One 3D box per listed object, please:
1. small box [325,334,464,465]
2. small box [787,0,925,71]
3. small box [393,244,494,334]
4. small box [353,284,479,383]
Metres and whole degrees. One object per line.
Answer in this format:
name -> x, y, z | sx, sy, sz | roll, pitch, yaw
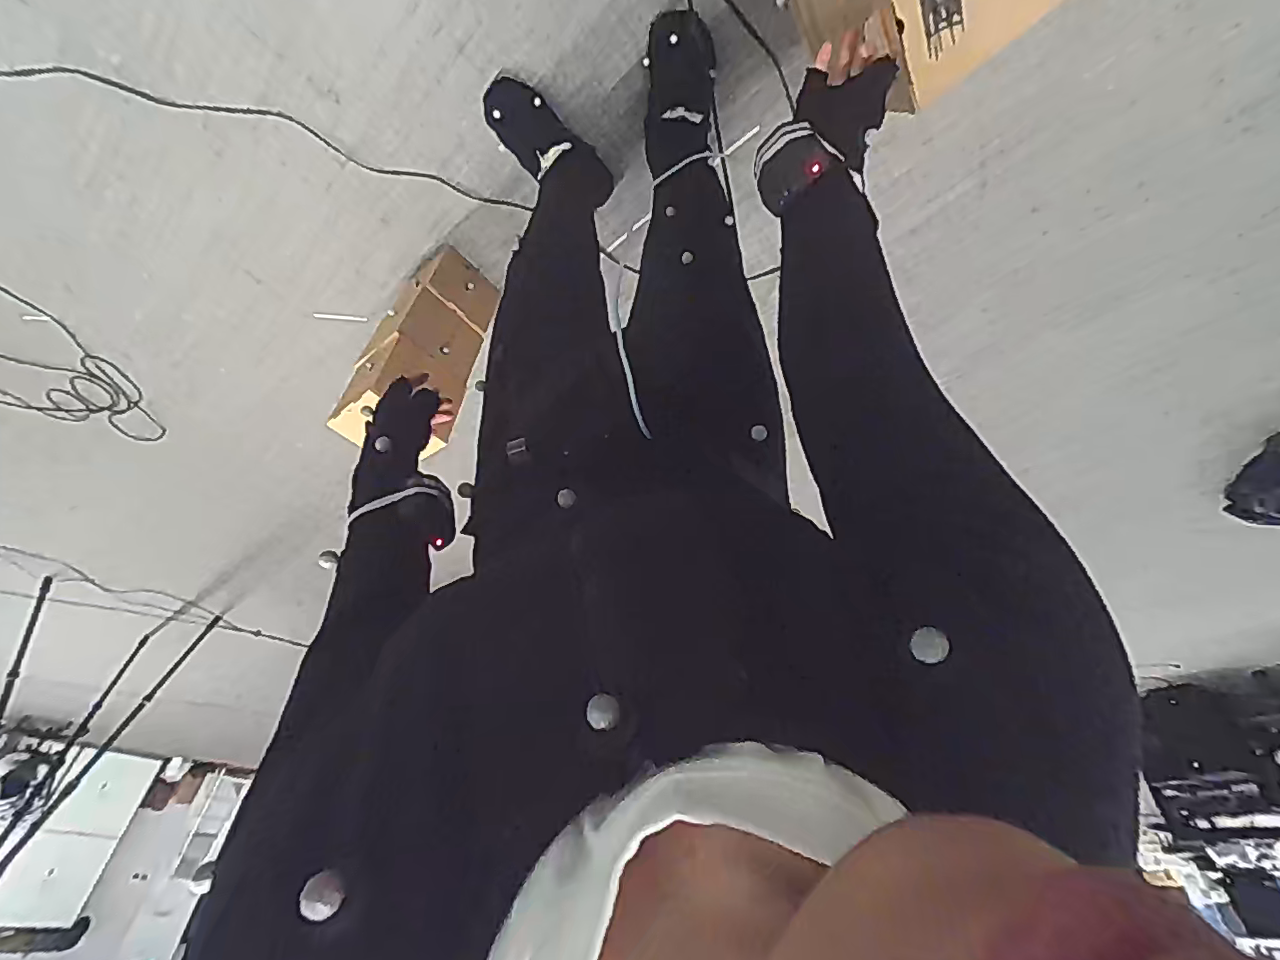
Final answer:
small box -> -0.495, -0.164, 1.114 | 0.168, 0.176, 0.179 | -22, 134, 31
small box -> 0.257, -0.669, 0.669 | 0.168, 0.176, 0.179 | -22, 136, 29
small box -> -0.474, -0.429, 1.305 | 0.179, 0.176, 0.168 | -23, 134, 31
small box -> -0.490, -0.297, 1.208 | 0.168, 0.176, 0.179 | -22, 135, 30
